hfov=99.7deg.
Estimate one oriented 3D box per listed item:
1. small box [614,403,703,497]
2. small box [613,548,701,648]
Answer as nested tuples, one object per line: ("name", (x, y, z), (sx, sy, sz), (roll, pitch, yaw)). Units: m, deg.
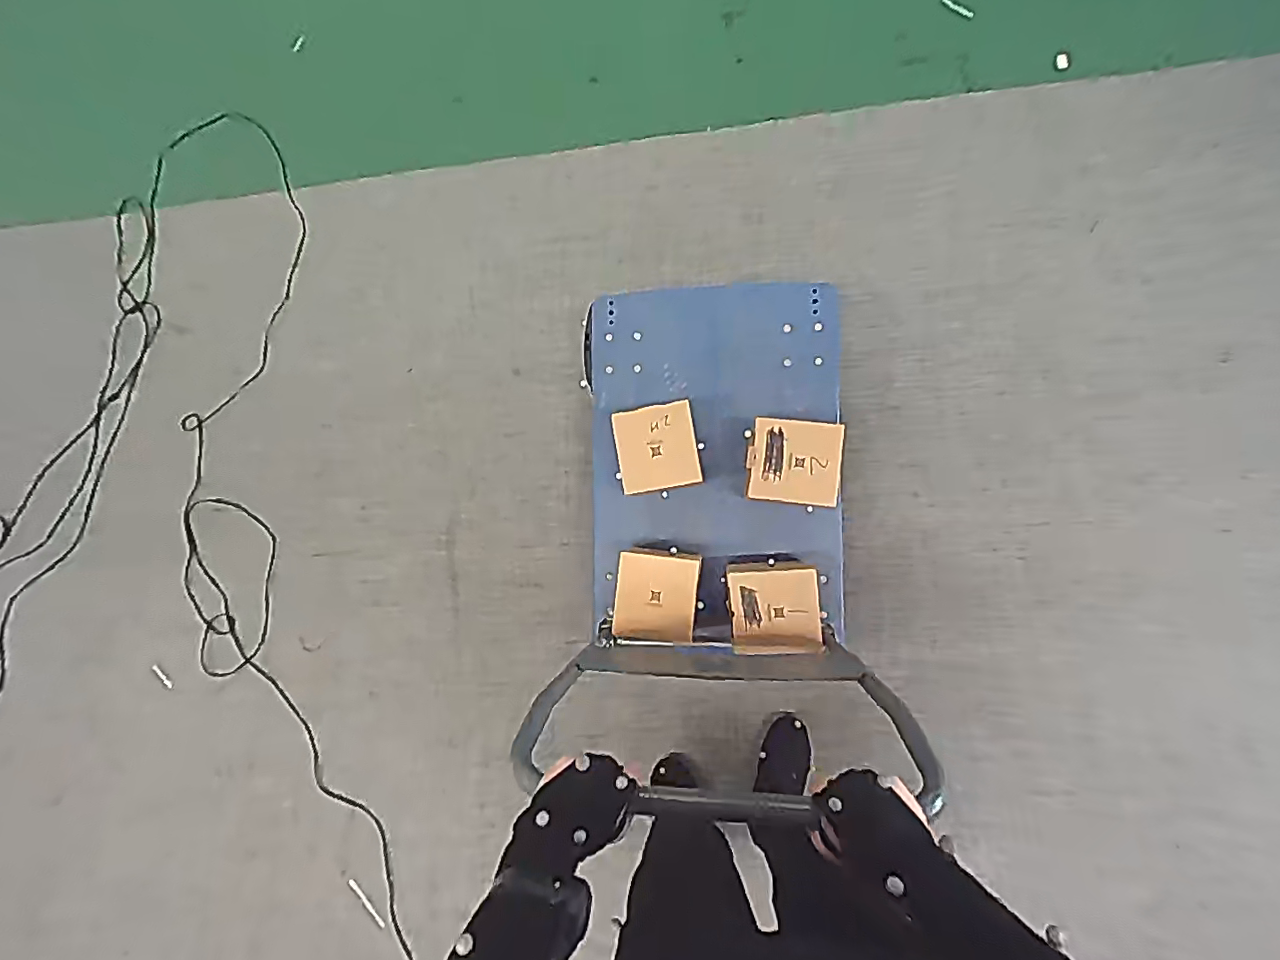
("small box", (0.047, -0.058, 1.196), (0.168, 0.176, 0.179), (-10, 86, 7))
("small box", (0.043, 0.249, 1.181), (0.168, 0.176, 0.179), (6, 89, 8))
